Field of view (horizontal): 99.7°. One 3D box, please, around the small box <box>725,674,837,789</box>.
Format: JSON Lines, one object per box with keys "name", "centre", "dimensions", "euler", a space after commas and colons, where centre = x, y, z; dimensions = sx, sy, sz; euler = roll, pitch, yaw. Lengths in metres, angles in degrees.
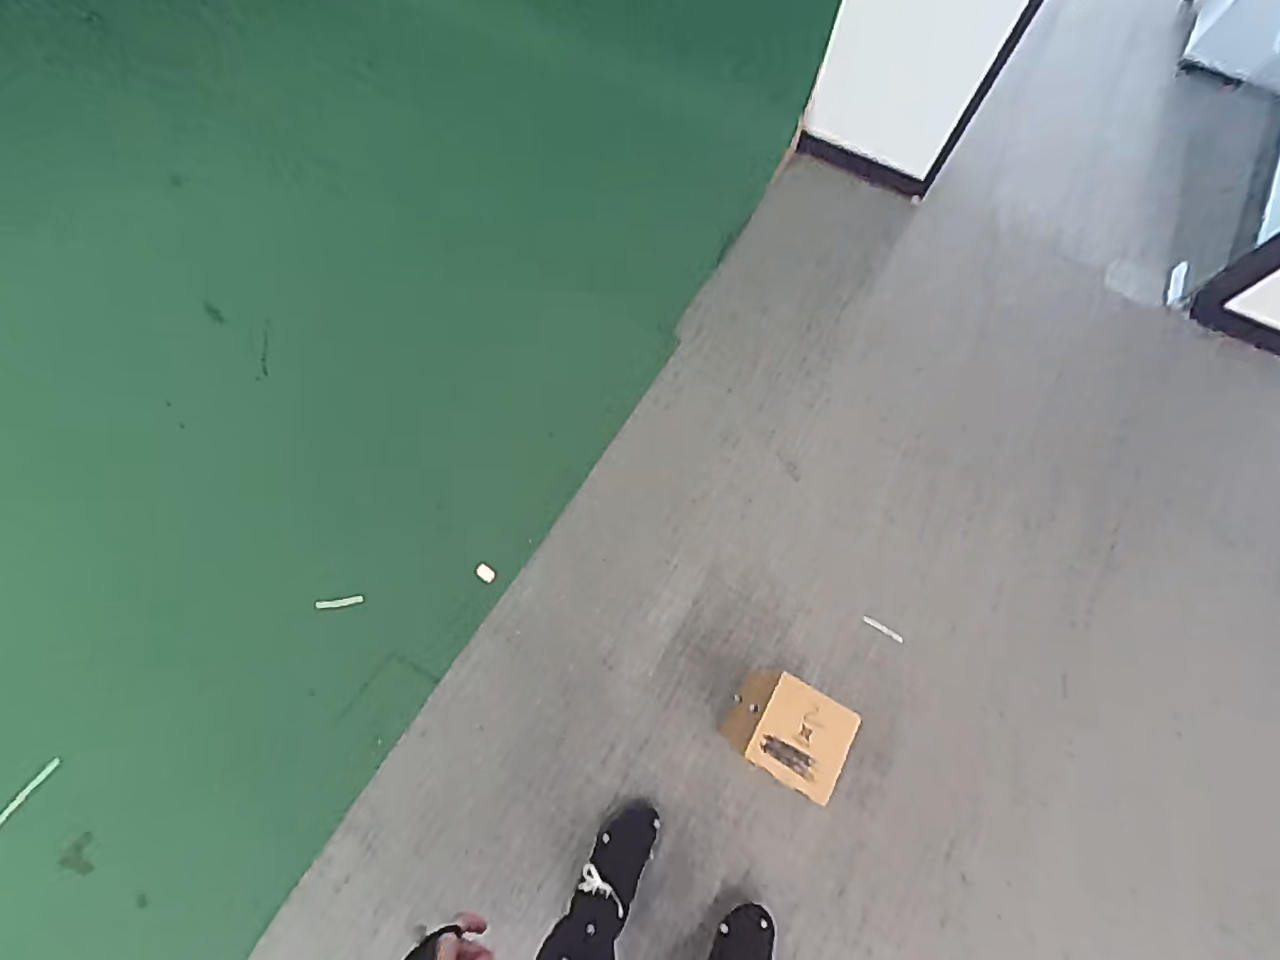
{"name": "small box", "centre": [0.312, 0.567, 1.234], "dimensions": [0.179, 0.176, 0.168], "euler": [29, 72, 10]}
